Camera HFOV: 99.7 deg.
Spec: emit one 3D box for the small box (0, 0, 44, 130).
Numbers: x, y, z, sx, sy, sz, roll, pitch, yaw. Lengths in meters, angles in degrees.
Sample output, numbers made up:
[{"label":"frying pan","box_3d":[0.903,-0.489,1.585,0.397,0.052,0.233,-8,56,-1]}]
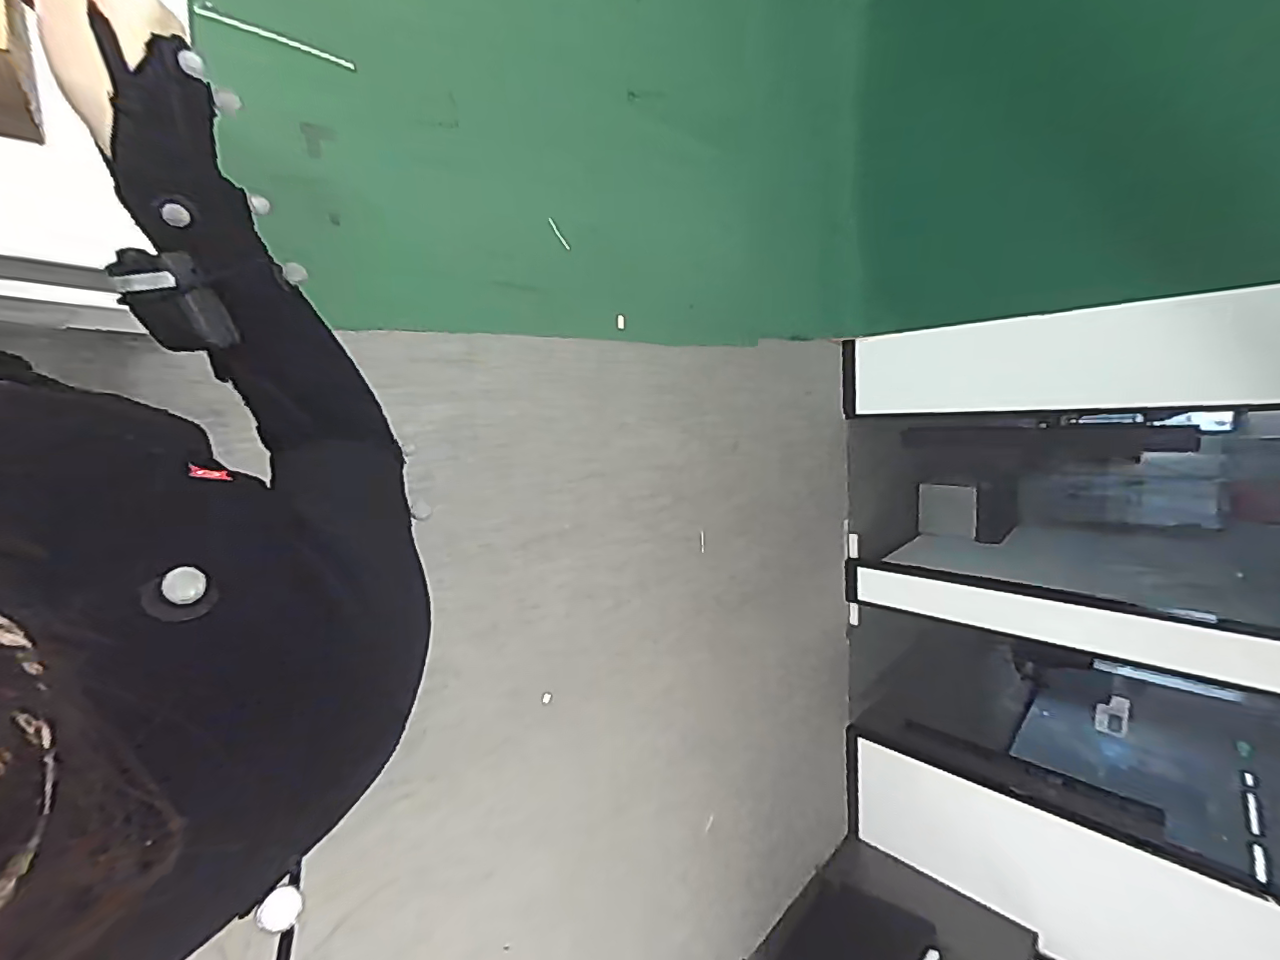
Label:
[{"label":"small box","box_3d":[-0.426,-0.295,0.251,0.179,0.176,0.168,-9,106,-43]}]
